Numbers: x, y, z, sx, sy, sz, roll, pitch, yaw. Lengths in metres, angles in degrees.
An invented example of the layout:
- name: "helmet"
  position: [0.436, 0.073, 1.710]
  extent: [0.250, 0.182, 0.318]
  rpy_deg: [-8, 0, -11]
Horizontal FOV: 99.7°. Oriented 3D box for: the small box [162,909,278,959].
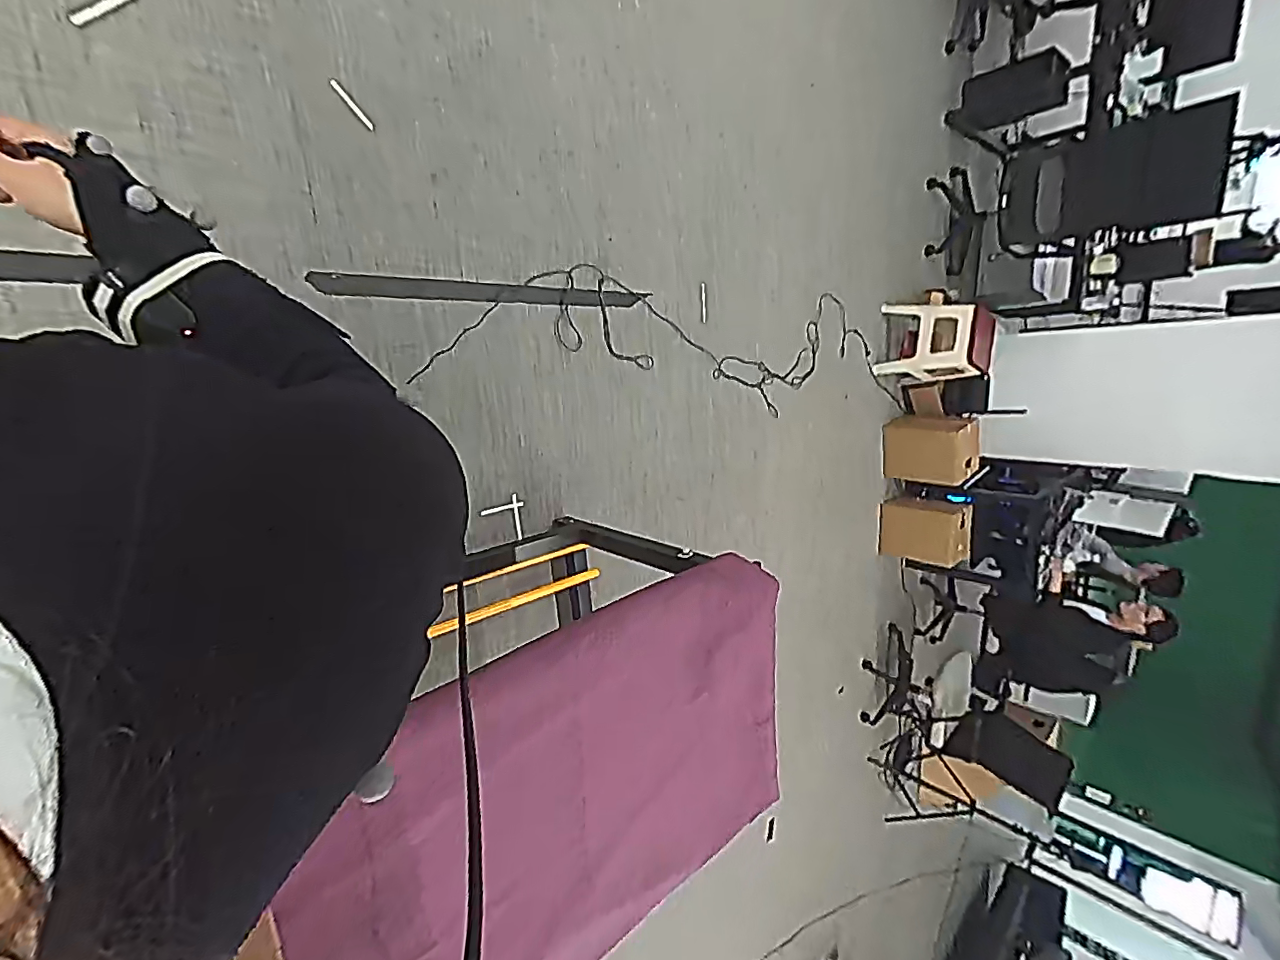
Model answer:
- name: "small box"
  position: [-0.438, 0.583, 0.516]
  extent: [0.179, 0.176, 0.168]
  rpy_deg: [-12, 107, -42]
